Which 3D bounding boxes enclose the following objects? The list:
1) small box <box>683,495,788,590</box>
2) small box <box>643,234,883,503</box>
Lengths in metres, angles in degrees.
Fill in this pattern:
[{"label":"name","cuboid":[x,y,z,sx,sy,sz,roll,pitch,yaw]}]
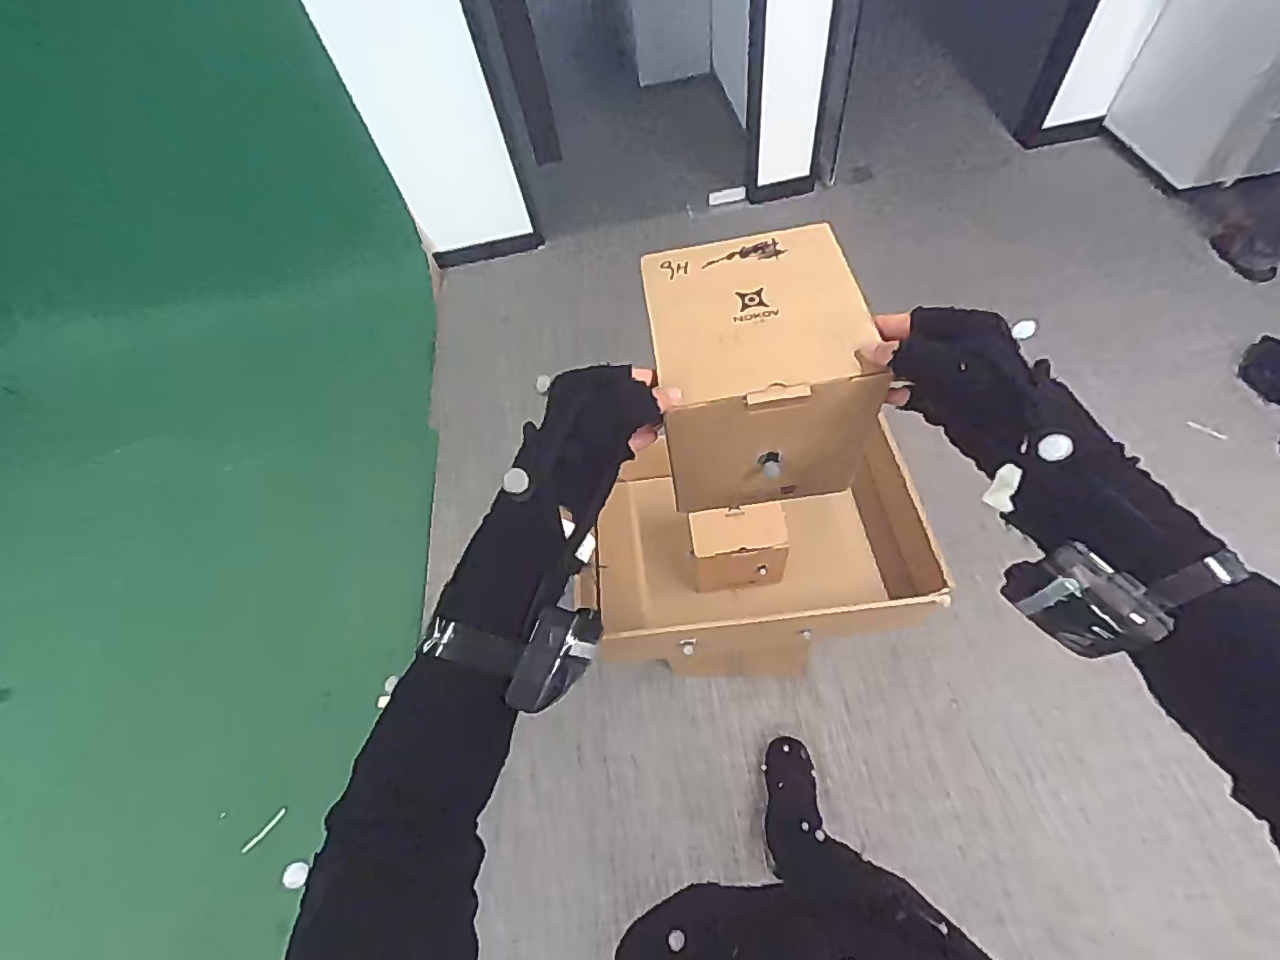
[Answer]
[{"label":"small box","cuboid":[0.174,0.098,1.026,0.168,0.176,0.179,-7,55,2]},{"label":"small box","cuboid":[0.101,-0.090,0.505,0.168,0.176,0.179,-8,59,4]}]
